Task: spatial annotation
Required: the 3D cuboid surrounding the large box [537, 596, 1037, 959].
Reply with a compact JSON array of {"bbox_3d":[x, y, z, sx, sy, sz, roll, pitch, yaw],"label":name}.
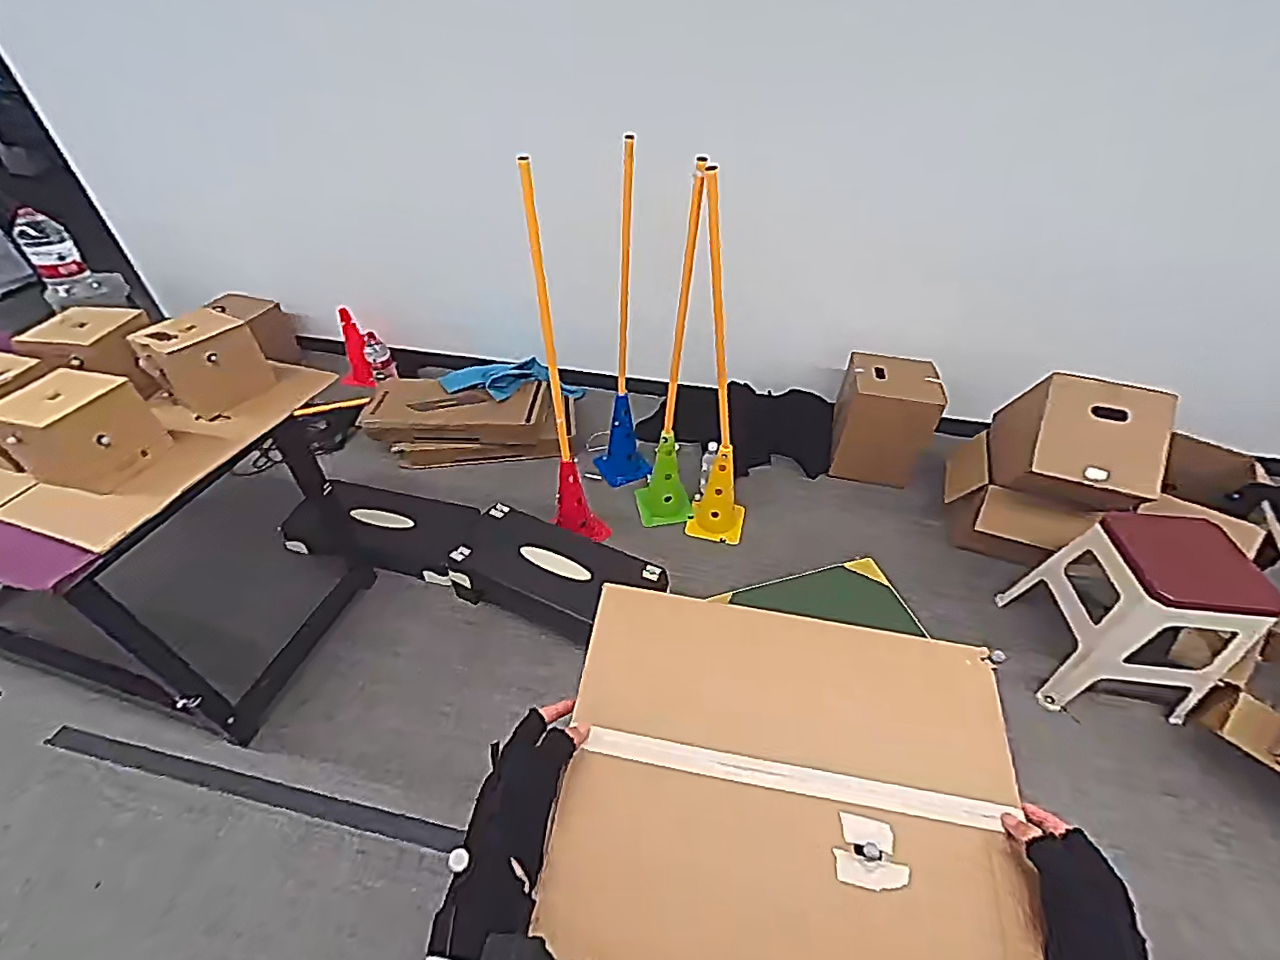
[{"bbox_3d":[0.132,0.366,0.618,0.408,0.320,0.320,9,55,6],"label":"large box"}]
